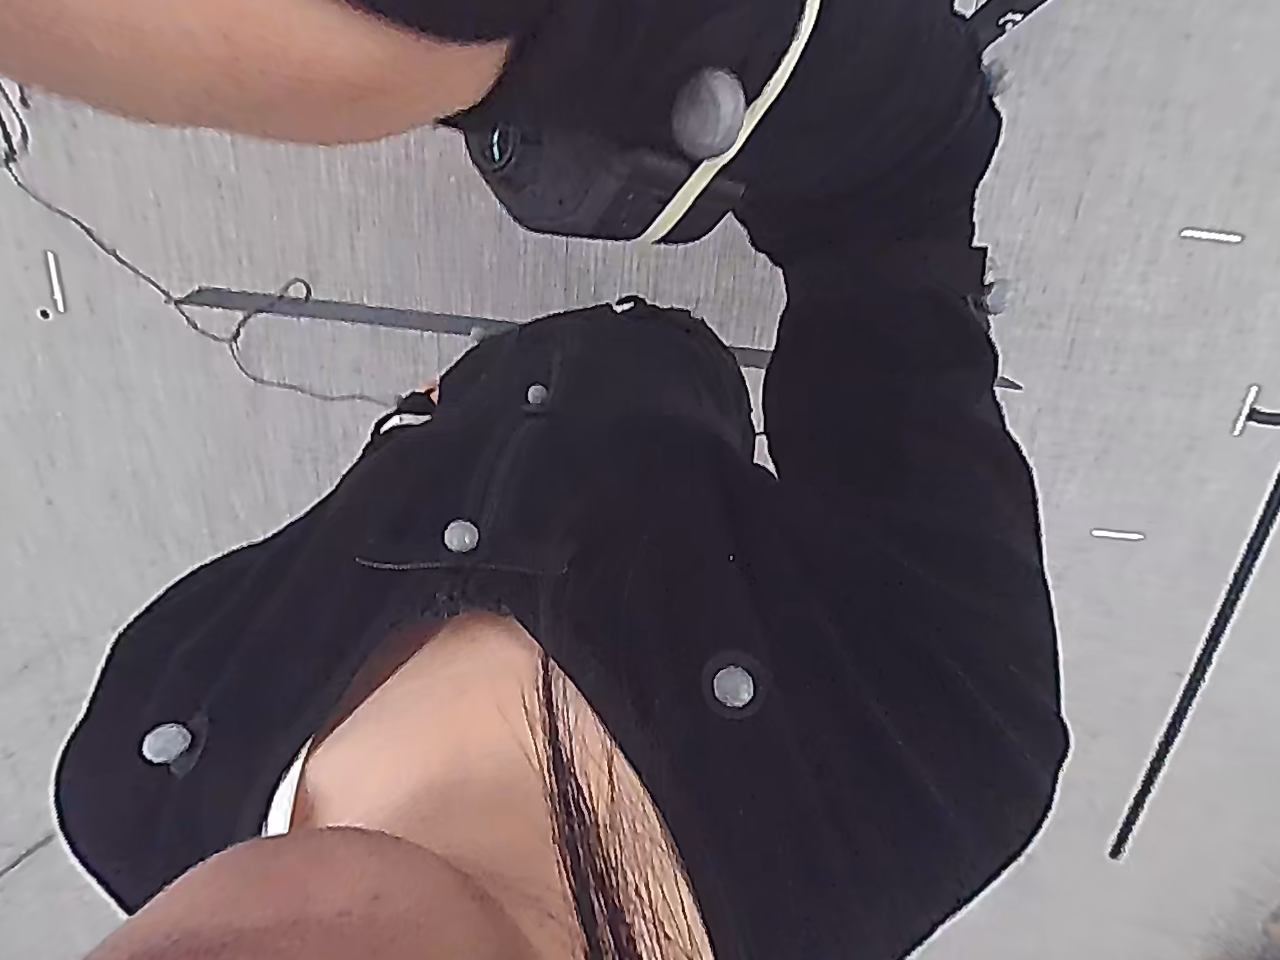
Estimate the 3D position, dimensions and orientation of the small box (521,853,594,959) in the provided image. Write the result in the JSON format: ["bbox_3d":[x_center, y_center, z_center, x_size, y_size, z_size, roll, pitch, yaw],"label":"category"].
[{"bbox_3d":[-0.208,1.116,1.408,0.168,0.176,0.179,0,106,0],"label":"small box"}]

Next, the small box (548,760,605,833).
[{"bbox_3d":[-0.200,1.021,1.723,0.168,0.176,0.179,1,106,-1],"label":"small box"}]

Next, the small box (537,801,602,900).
[{"bbox_3d":[-0.198,1.071,1.567,0.168,0.176,0.179,0,107,-1],"label":"small box"}]
